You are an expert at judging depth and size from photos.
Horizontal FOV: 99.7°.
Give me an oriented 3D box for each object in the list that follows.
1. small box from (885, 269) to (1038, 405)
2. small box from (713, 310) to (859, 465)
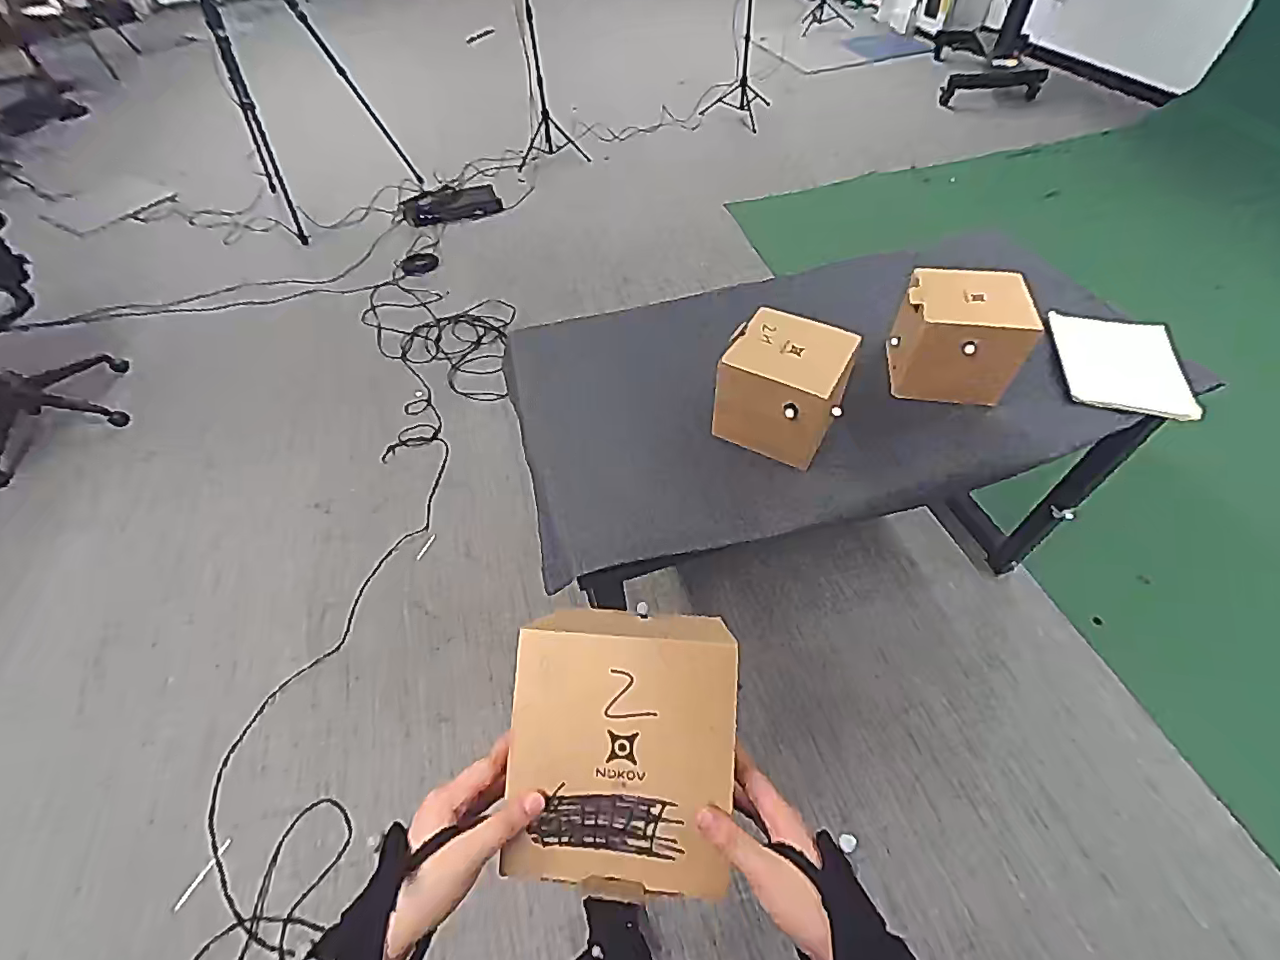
[{"bbox_3d":[0.559,-0.253,0.967,0.179,0.176,0.168,7,53,10],"label":"small box"},{"bbox_3d":[0.236,-0.150,0.906,0.179,0.176,0.168,24,57,21],"label":"small box"}]
